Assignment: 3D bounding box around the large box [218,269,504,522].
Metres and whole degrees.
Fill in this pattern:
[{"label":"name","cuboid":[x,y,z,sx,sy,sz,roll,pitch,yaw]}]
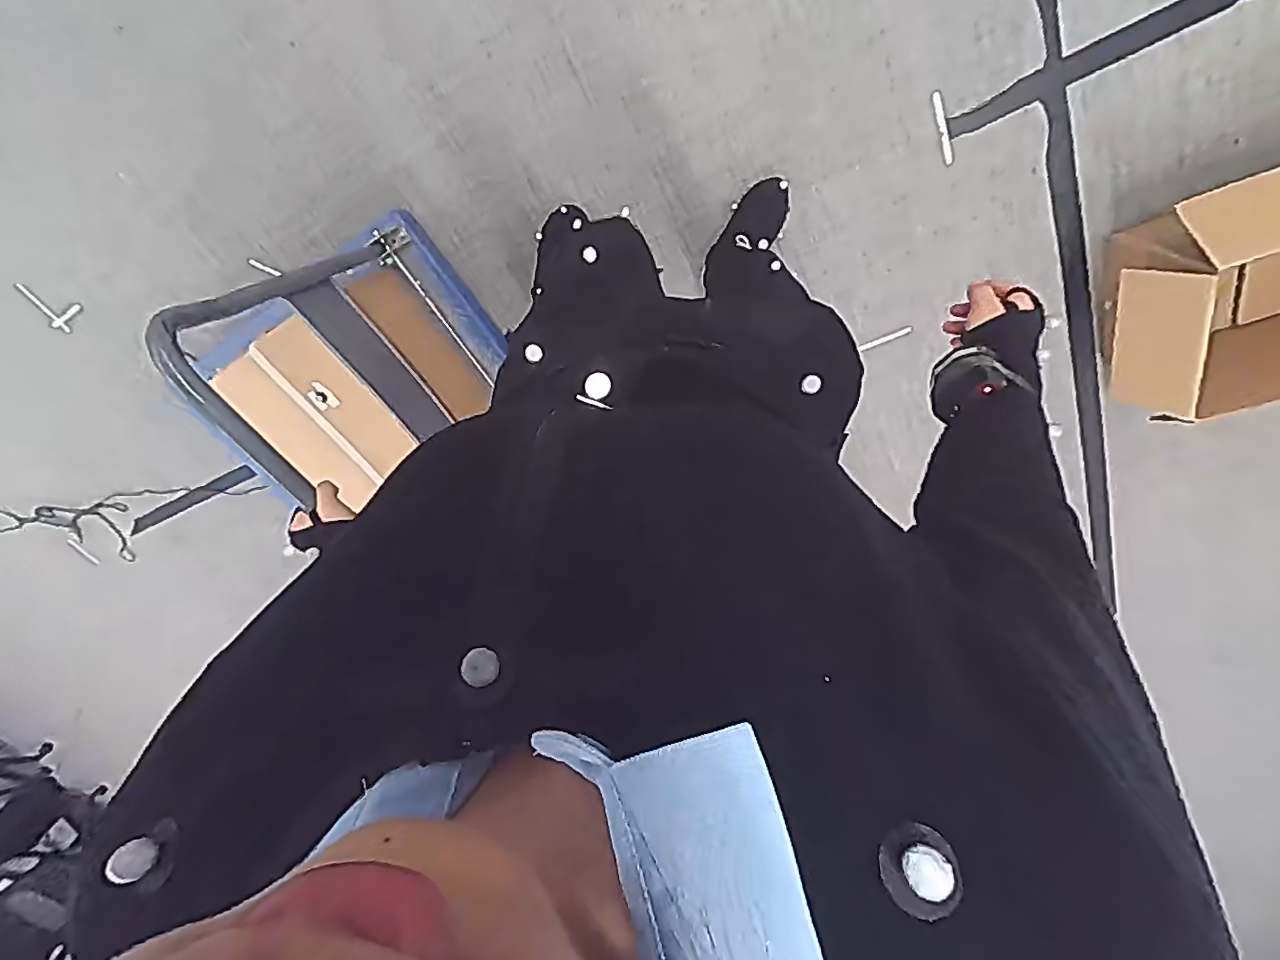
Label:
[{"label":"large box","cuboid":[-0.580,-0.187,1.207,0.320,0.320,0.408,-24,117,20]}]
